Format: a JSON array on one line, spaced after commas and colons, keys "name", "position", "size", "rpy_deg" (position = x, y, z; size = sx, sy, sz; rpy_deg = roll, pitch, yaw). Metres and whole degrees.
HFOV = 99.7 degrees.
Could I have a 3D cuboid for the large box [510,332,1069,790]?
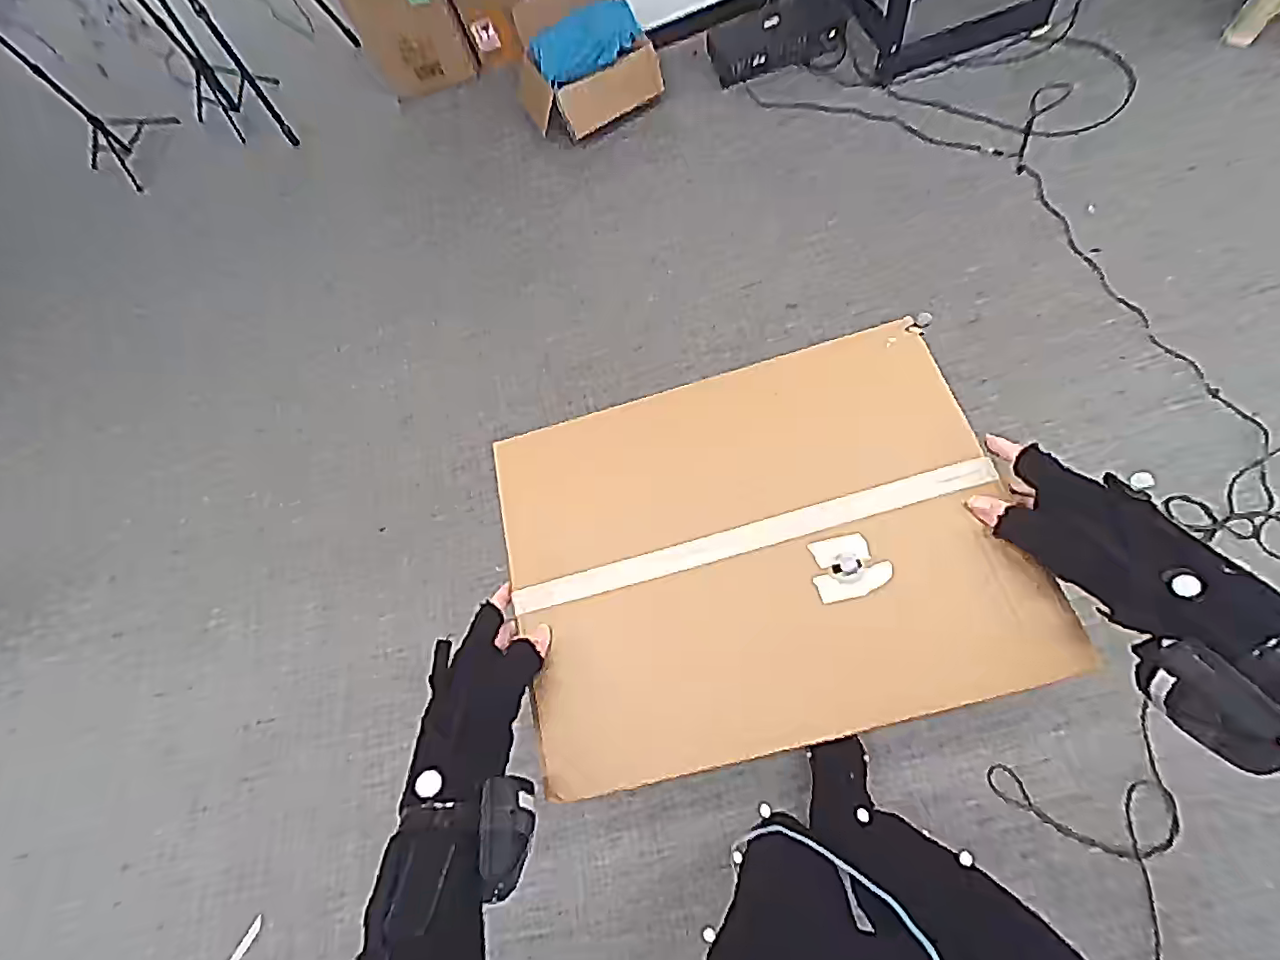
[{"name": "large box", "position": [0.118, 0.104, 0.605], "size": [0.408, 0.320, 0.320], "rpy_deg": [-17, 68, 3]}]
